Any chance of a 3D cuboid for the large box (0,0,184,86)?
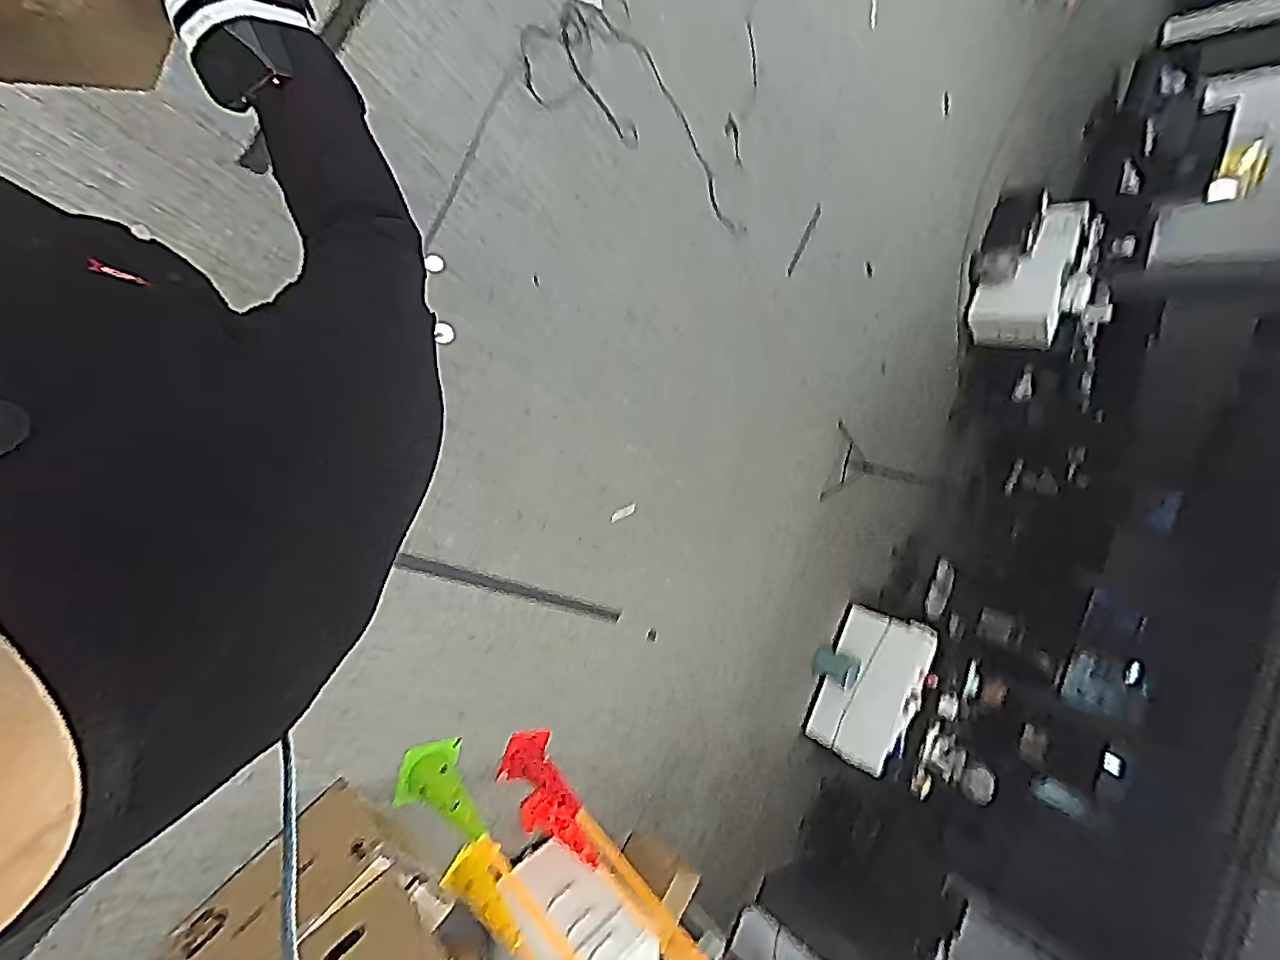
[{"bbox_3d":[-0.544,-0.429,0.268,0.408,0.320,0.320,-25,123,-38],"label":"large box"}]
